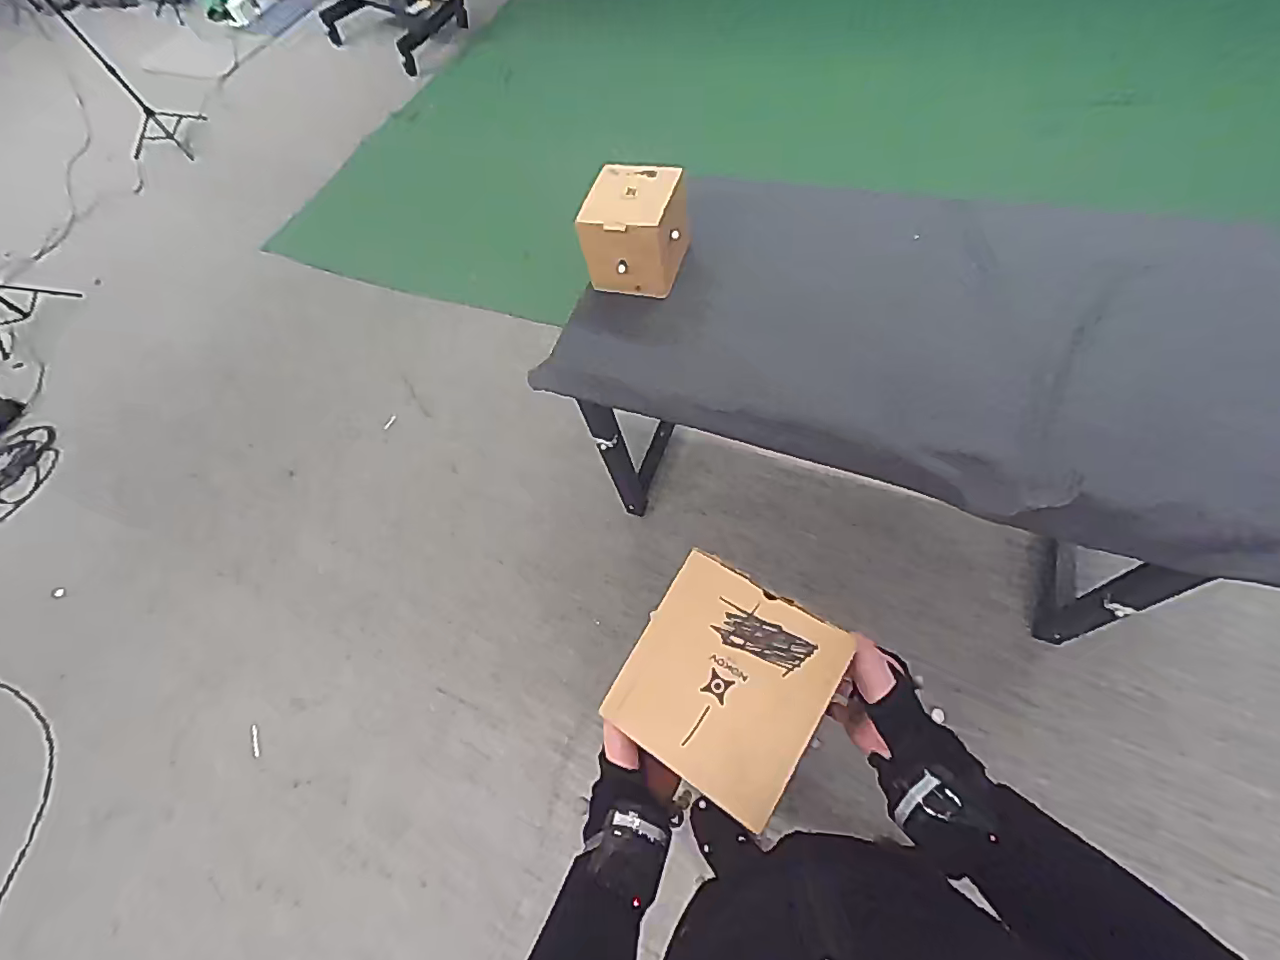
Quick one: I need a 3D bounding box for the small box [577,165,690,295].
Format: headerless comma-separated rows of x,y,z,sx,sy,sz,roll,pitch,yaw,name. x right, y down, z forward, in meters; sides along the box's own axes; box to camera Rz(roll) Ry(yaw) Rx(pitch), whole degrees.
-0.002,-0.500,1.089,0.168,0.176,0.179,13,66,16,small box
